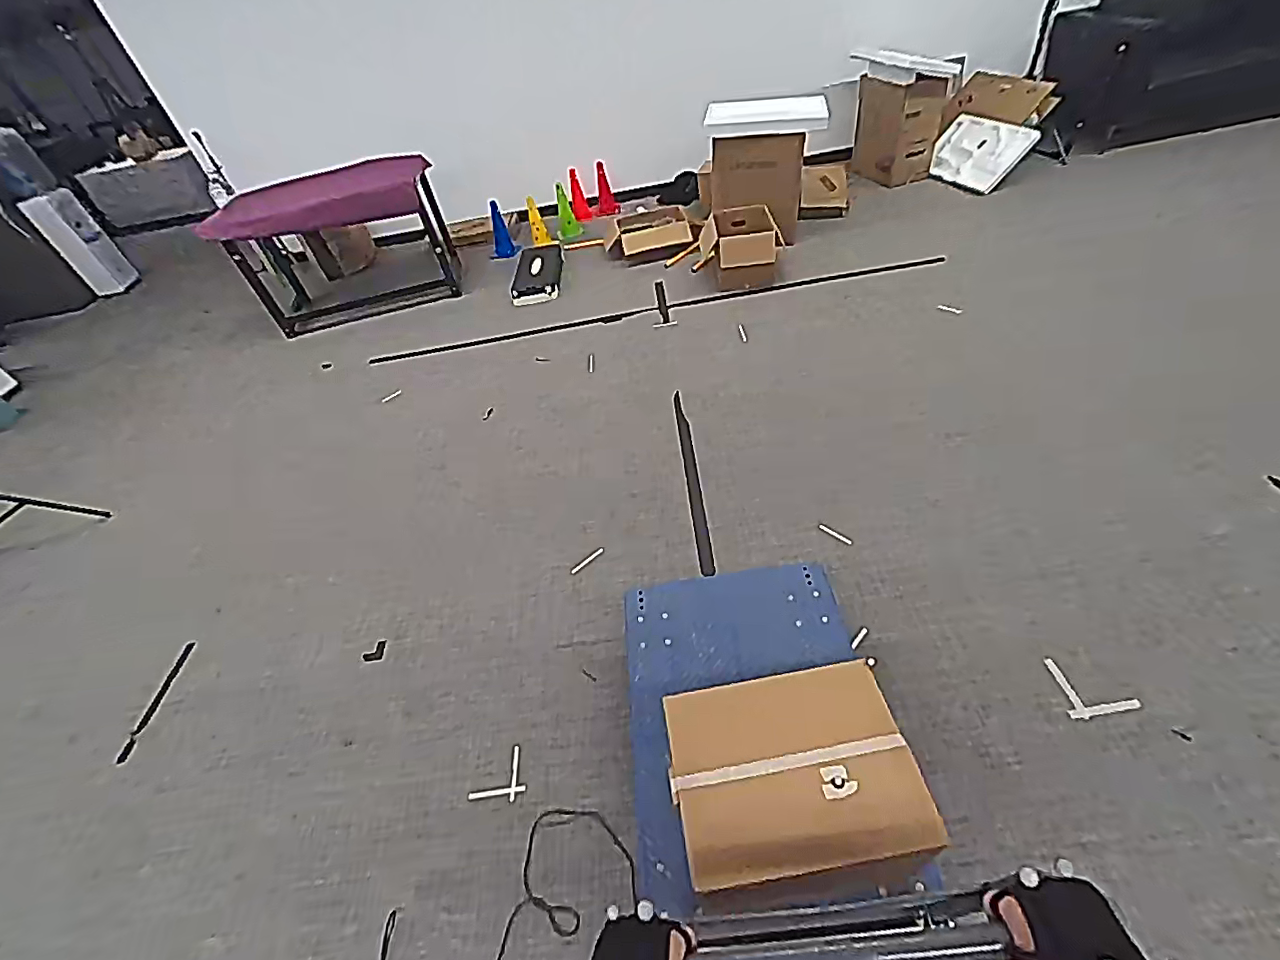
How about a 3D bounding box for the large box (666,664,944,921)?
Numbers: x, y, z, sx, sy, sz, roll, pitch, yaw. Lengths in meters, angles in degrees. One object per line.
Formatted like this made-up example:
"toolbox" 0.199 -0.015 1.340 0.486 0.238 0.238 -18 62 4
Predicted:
"large box" 0.283 0.608 1.053 0.408 0.320 0.320 -11 45 0
